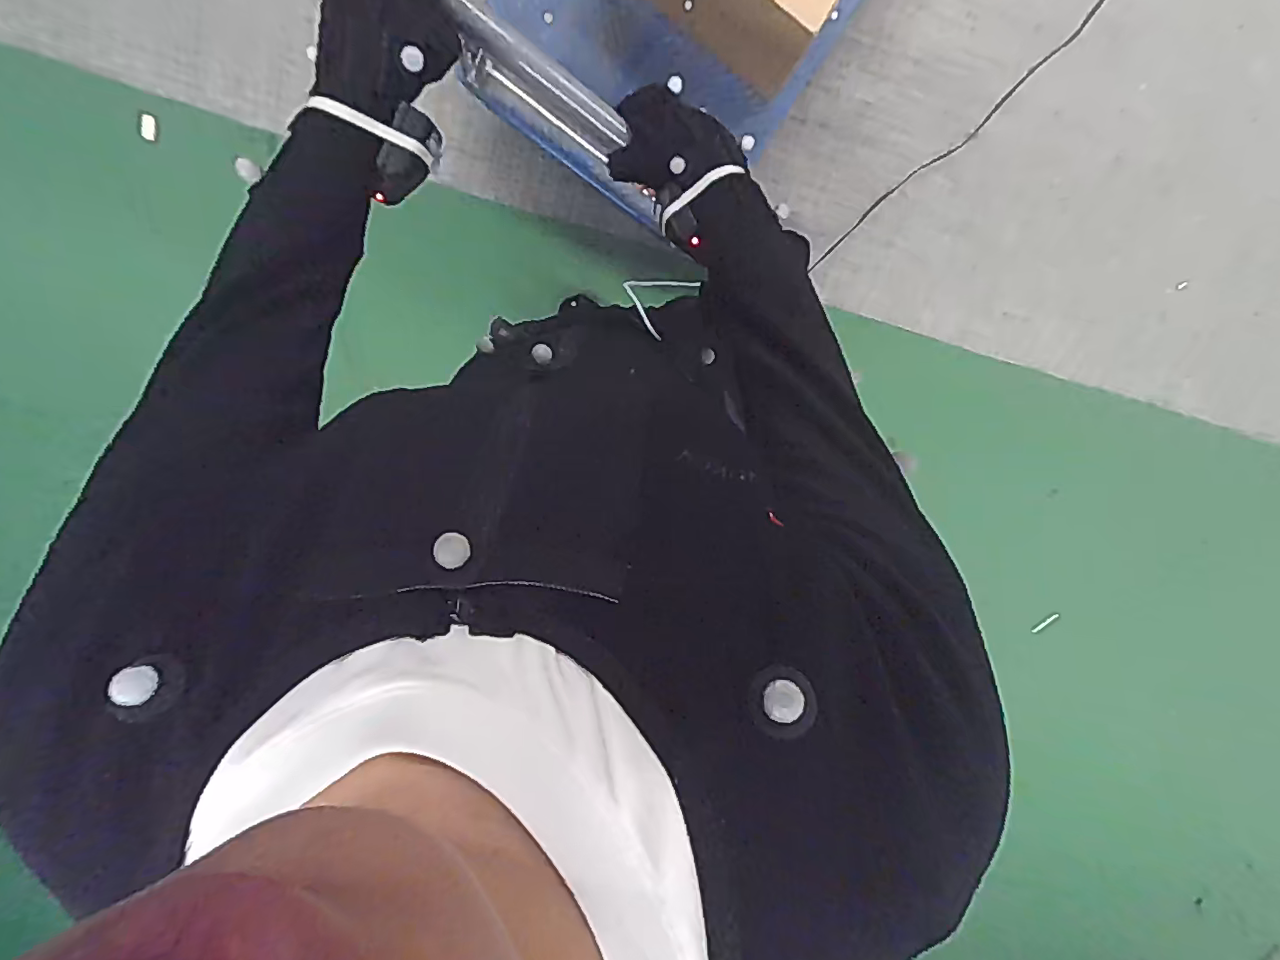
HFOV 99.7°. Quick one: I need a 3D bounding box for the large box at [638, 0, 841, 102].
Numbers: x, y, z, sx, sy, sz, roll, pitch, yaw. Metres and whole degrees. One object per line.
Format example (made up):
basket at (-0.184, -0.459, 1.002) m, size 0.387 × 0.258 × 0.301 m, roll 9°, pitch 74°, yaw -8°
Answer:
large box at (0.172, -0.908, 0.851) m, size 0.408 × 0.320 × 0.320 m, roll 33°, pitch 106°, yaw -9°
